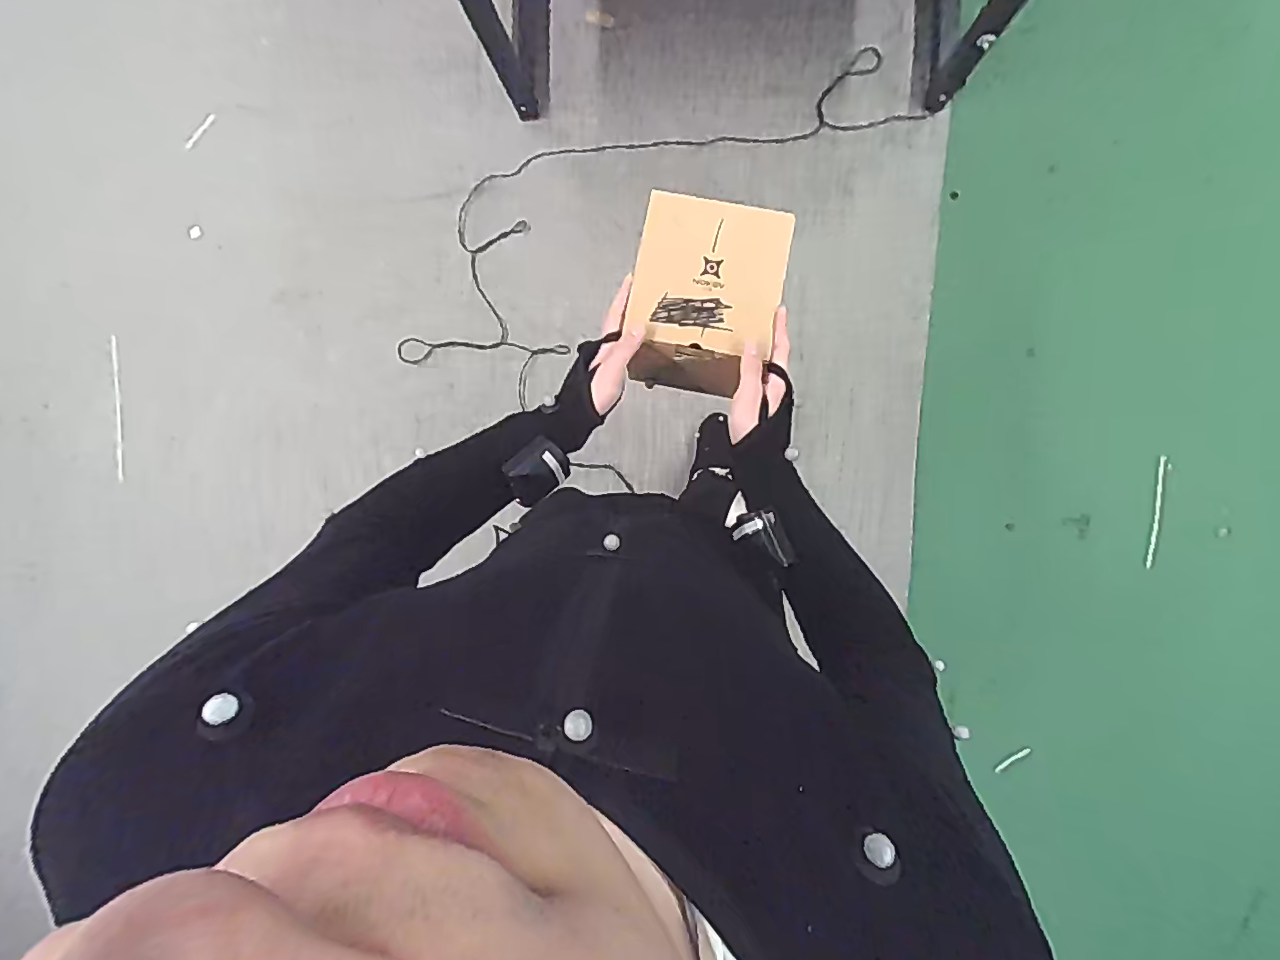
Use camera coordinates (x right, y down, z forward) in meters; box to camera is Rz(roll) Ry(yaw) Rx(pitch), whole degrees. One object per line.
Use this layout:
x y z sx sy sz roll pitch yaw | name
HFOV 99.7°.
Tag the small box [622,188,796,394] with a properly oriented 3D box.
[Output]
0.079 -0.217 0.666 0.168 0.176 0.179 10 84 3 | small box
